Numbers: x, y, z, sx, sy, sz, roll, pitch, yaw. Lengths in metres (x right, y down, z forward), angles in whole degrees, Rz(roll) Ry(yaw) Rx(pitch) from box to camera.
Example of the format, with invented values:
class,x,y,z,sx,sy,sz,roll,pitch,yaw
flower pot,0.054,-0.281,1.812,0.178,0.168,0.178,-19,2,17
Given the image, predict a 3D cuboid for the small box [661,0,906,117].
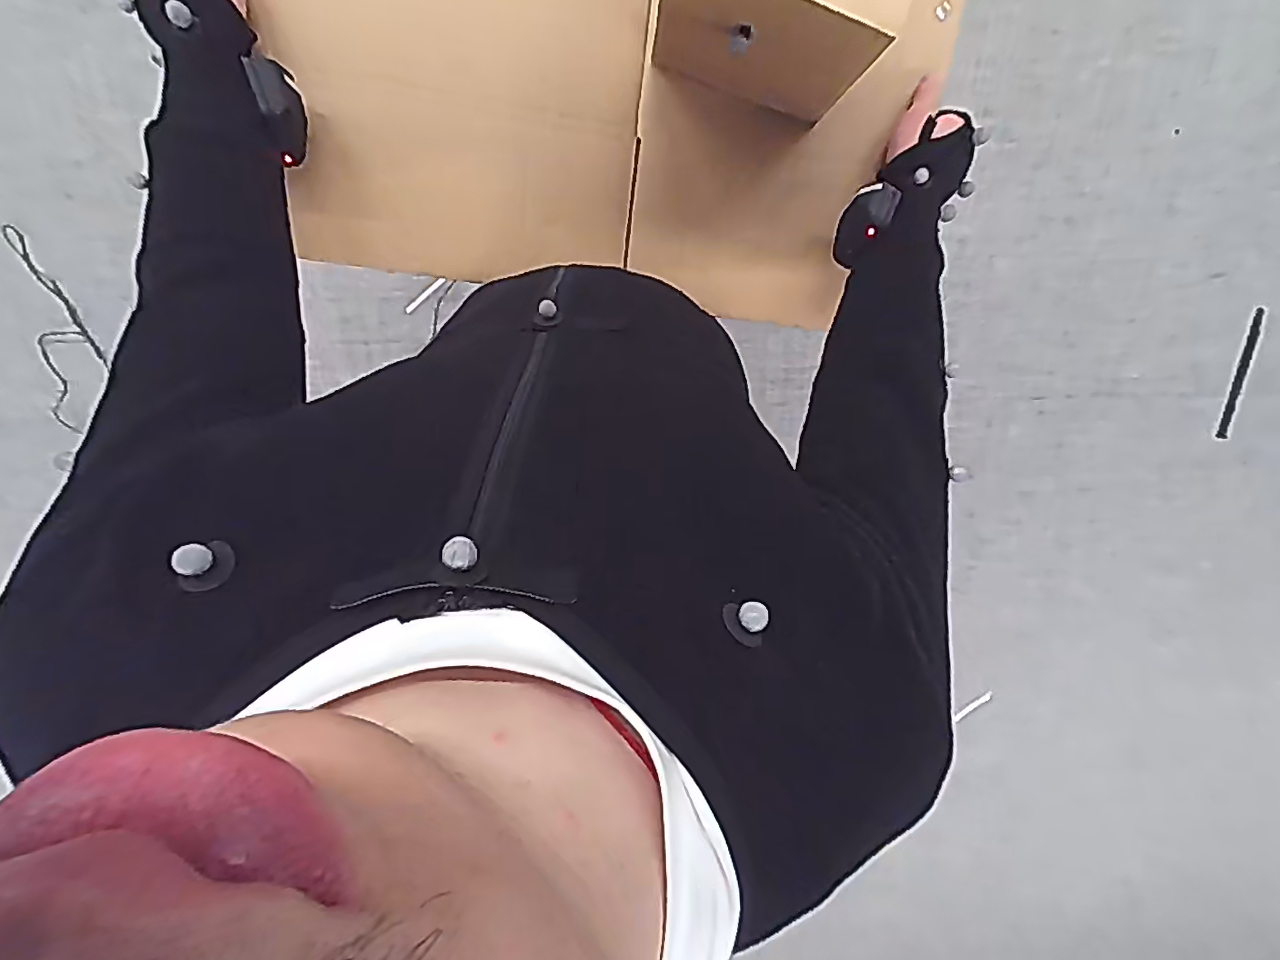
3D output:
class,x,y,z,sx,sy,sz,roll,pitch,yaw
small box,0.123,-0.437,0.442,0.179,0.176,0.168,17,104,-6
